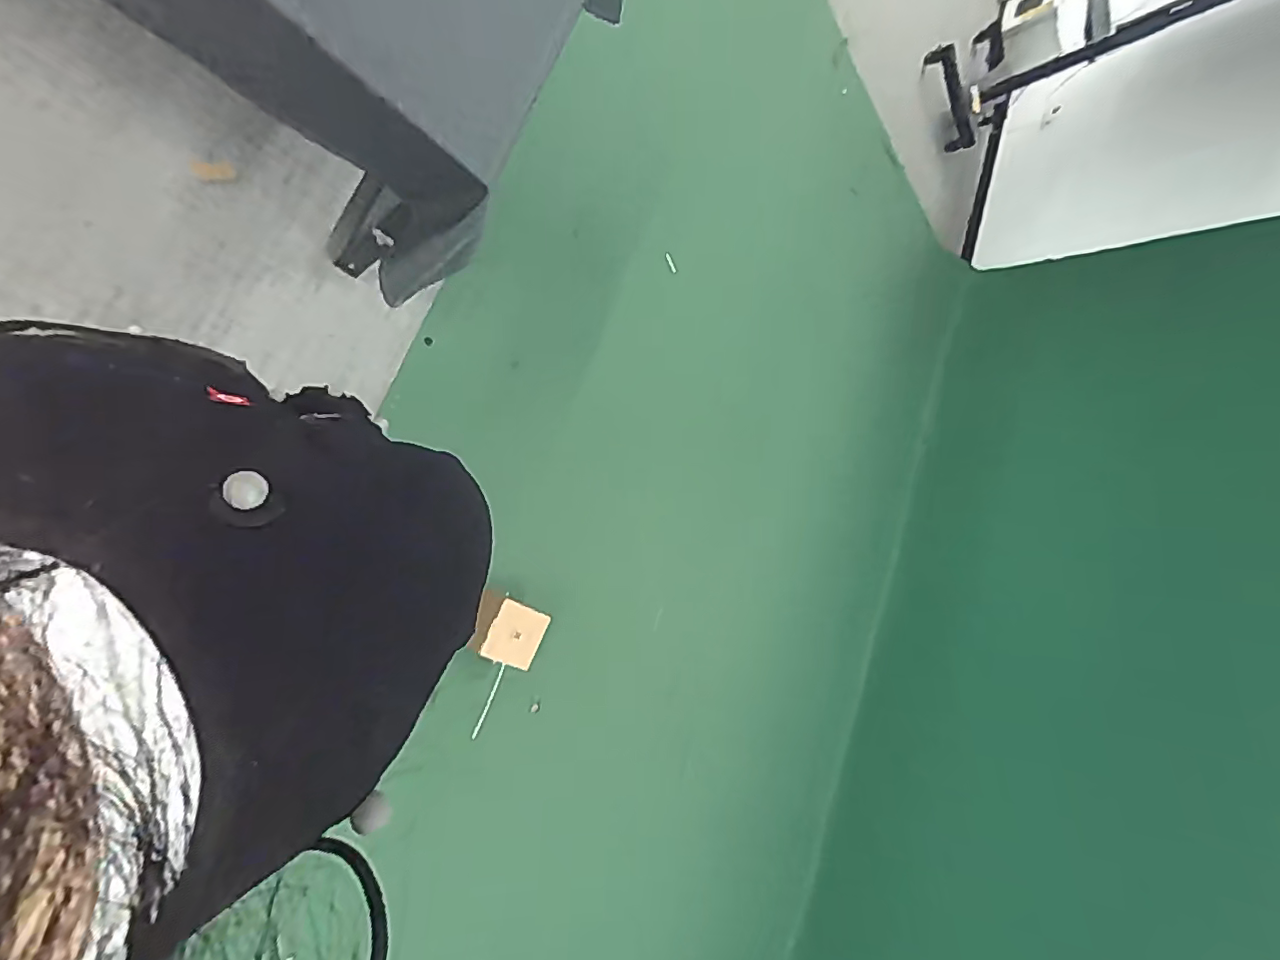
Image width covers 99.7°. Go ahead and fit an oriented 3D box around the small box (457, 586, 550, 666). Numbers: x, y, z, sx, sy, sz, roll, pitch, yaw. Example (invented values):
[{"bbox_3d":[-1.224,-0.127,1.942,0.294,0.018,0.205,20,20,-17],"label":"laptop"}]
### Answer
[{"bbox_3d":[-0.407,0.425,1.595,0.179,0.176,0.168,36,71,-37],"label":"small box"}]
